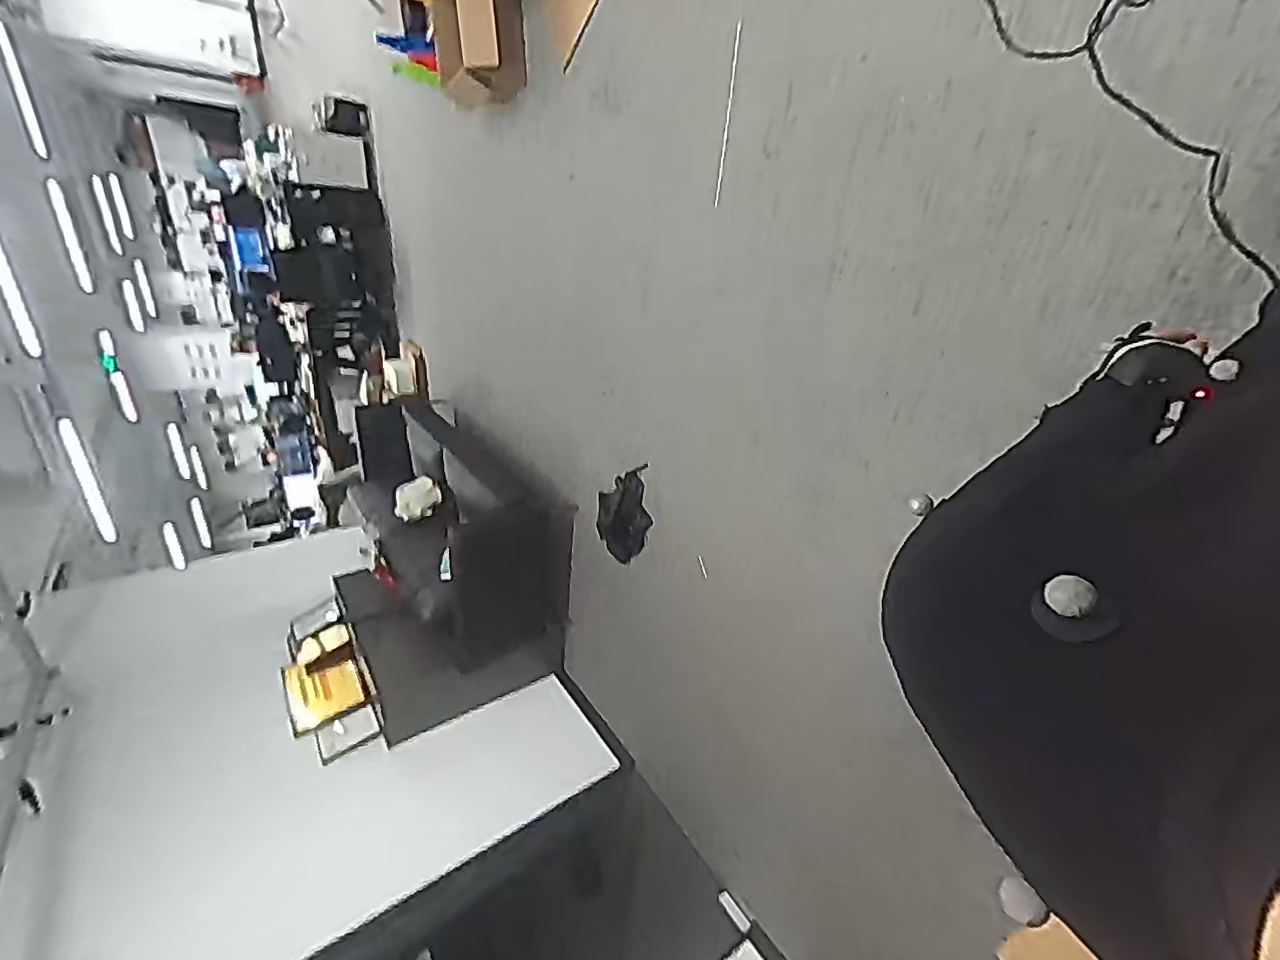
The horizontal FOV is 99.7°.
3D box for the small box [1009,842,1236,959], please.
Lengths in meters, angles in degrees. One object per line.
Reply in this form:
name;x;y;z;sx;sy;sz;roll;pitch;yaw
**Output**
small box;0.673;0.661;0.758;0.168;0.176;0.179;41;134;43
